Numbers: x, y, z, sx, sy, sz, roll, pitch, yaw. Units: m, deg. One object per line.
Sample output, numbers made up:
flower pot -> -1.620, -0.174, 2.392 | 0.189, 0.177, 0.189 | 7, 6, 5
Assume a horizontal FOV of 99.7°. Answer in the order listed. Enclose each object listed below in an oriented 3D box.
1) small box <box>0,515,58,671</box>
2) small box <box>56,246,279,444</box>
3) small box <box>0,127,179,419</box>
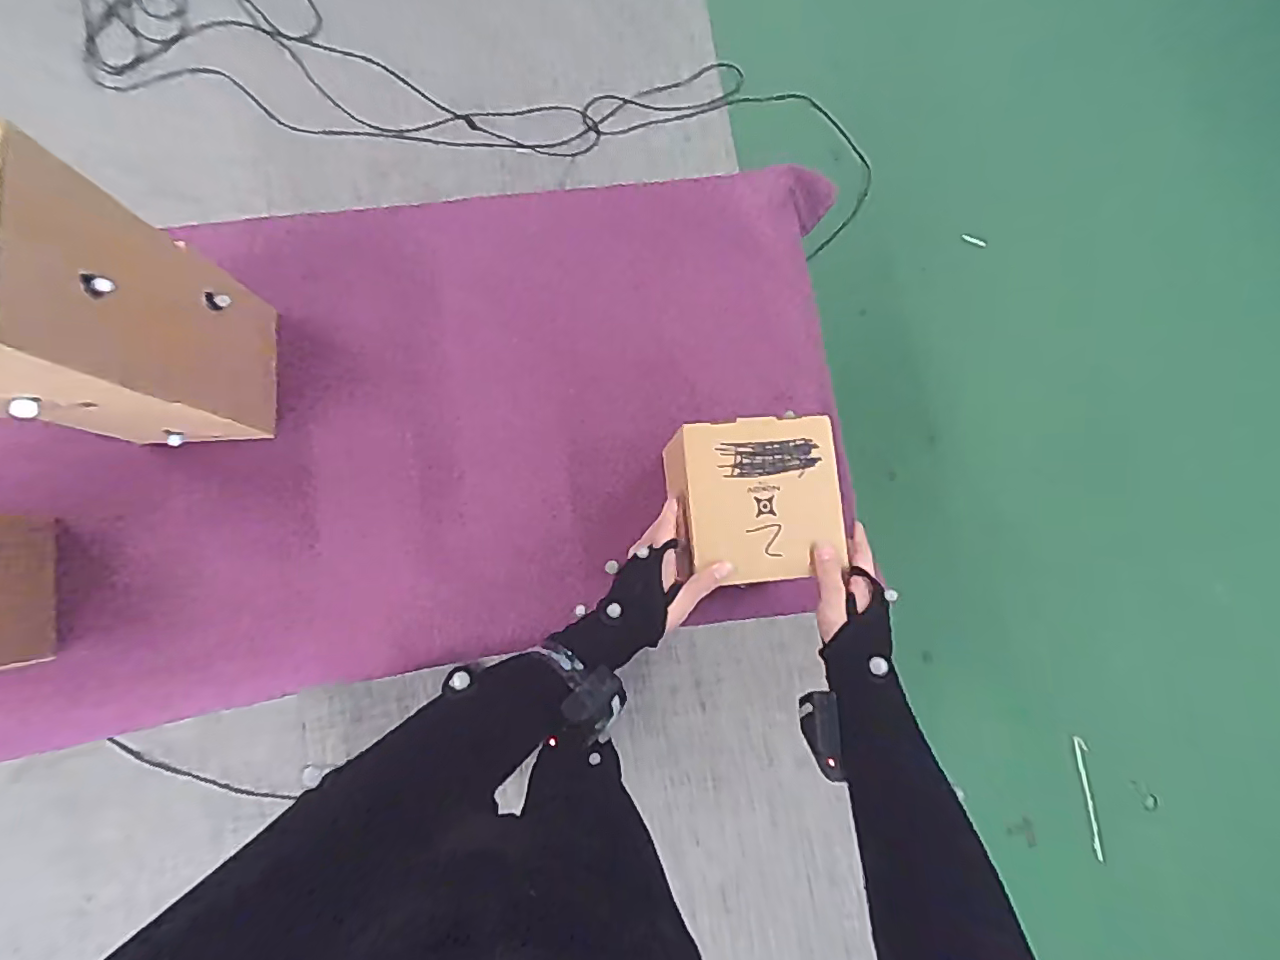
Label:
small box -> -0.777, 0.127, 0.568 | 0.168, 0.176, 0.179 | -8, 82, -6
small box -> -0.549, -0.145, 0.624 | 0.168, 0.176, 0.179 | -3, 83, -5
small box -> -0.540, -0.160, 0.461 | 0.168, 0.176, 0.179 | -5, 84, -5
